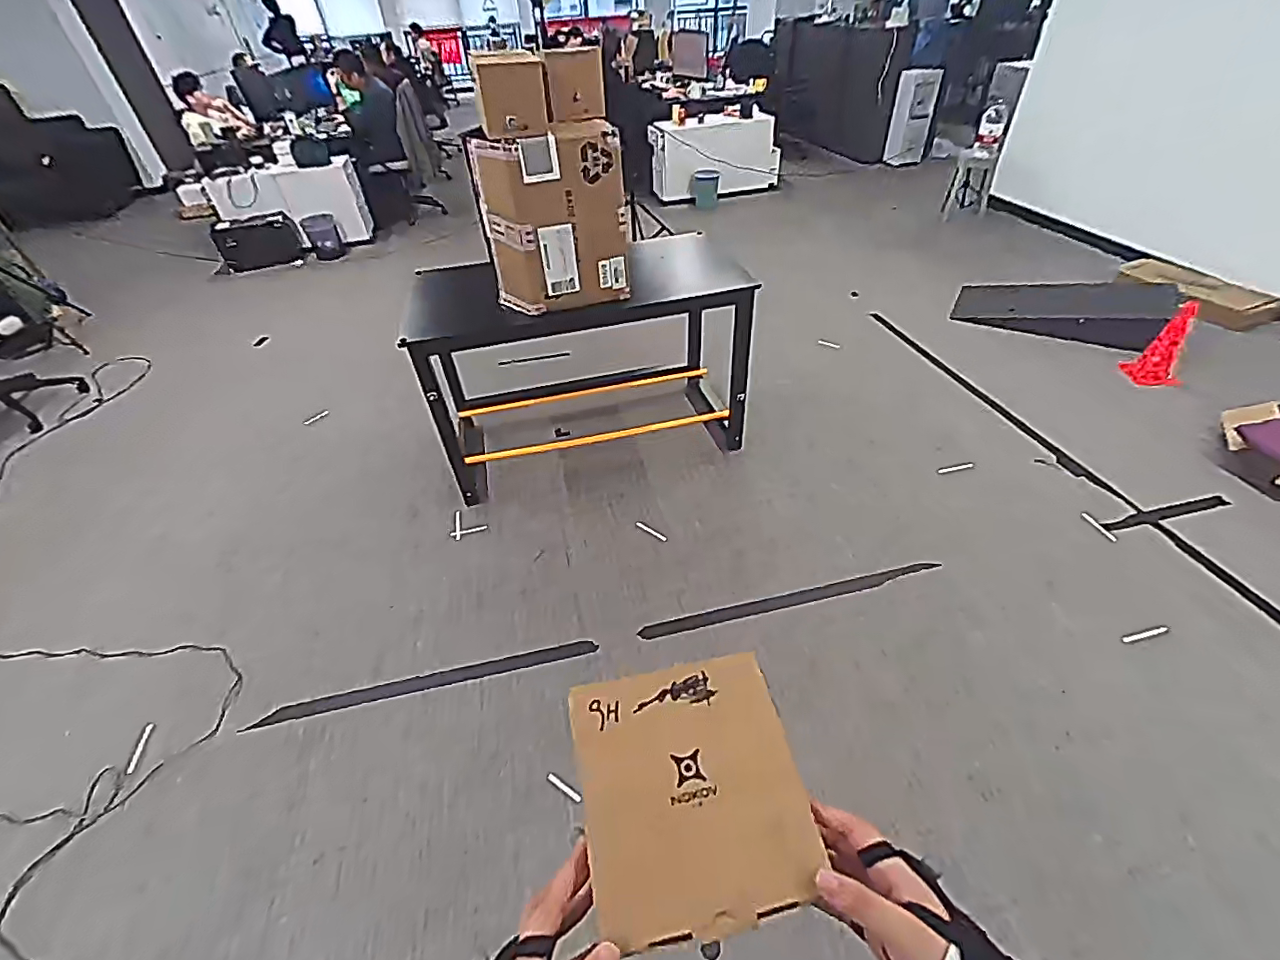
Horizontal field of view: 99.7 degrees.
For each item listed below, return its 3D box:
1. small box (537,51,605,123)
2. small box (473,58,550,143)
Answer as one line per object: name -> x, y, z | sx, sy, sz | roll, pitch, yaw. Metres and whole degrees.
small box -> -0.212, -1.207, 1.660 | 0.168, 0.176, 0.179 | -14, 41, -11
small box -> -0.349, -1.034, 1.473 | 0.168, 0.176, 0.179 | -13, 45, -12
